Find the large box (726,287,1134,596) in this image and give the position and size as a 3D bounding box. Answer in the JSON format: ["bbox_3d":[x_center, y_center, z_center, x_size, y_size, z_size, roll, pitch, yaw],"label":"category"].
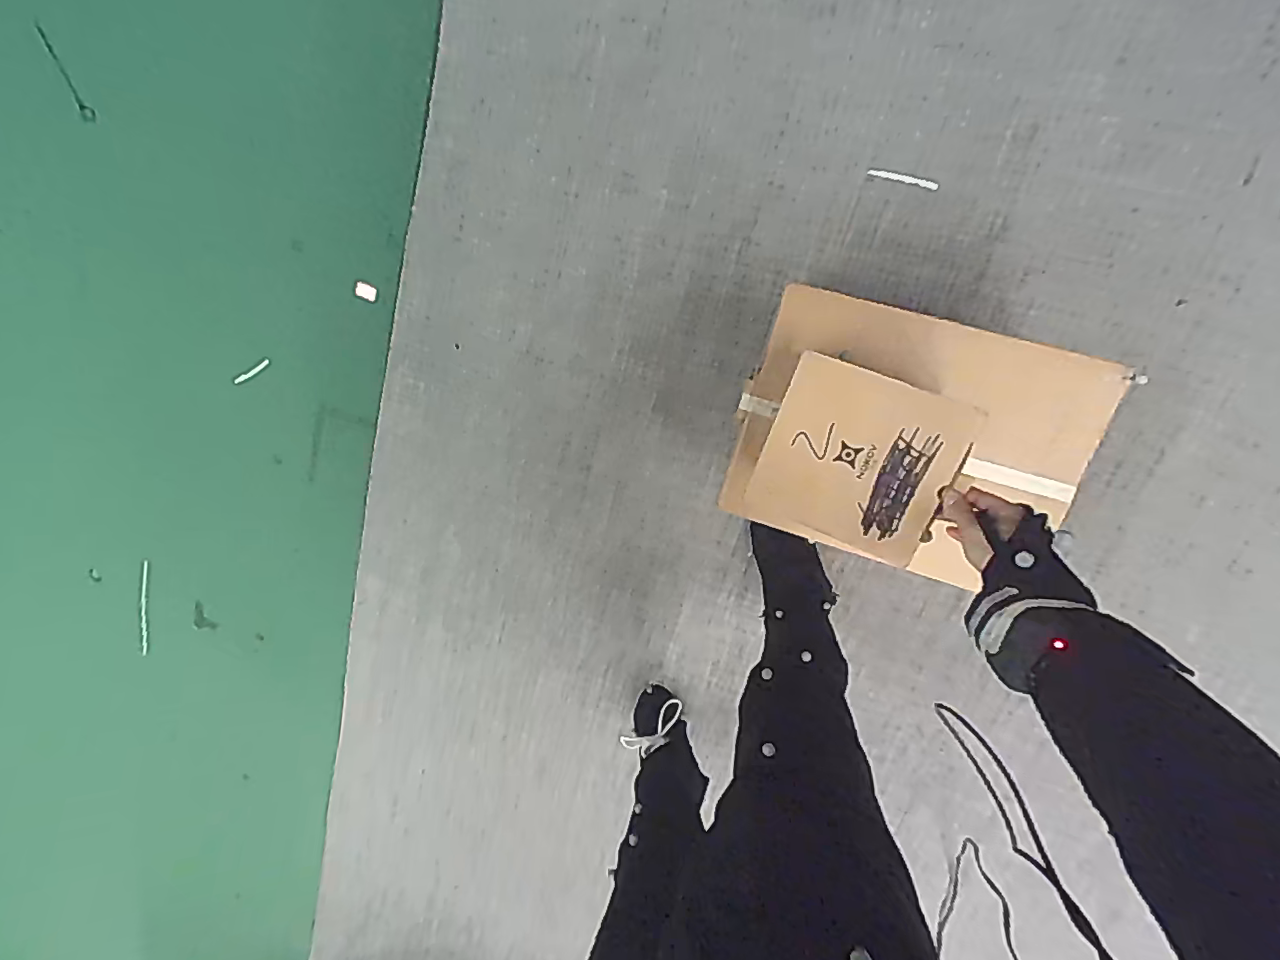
[{"bbox_3d":[0.370,-0.078,0.825,0.408,0.320,0.320,17,107,8],"label":"large box"}]
